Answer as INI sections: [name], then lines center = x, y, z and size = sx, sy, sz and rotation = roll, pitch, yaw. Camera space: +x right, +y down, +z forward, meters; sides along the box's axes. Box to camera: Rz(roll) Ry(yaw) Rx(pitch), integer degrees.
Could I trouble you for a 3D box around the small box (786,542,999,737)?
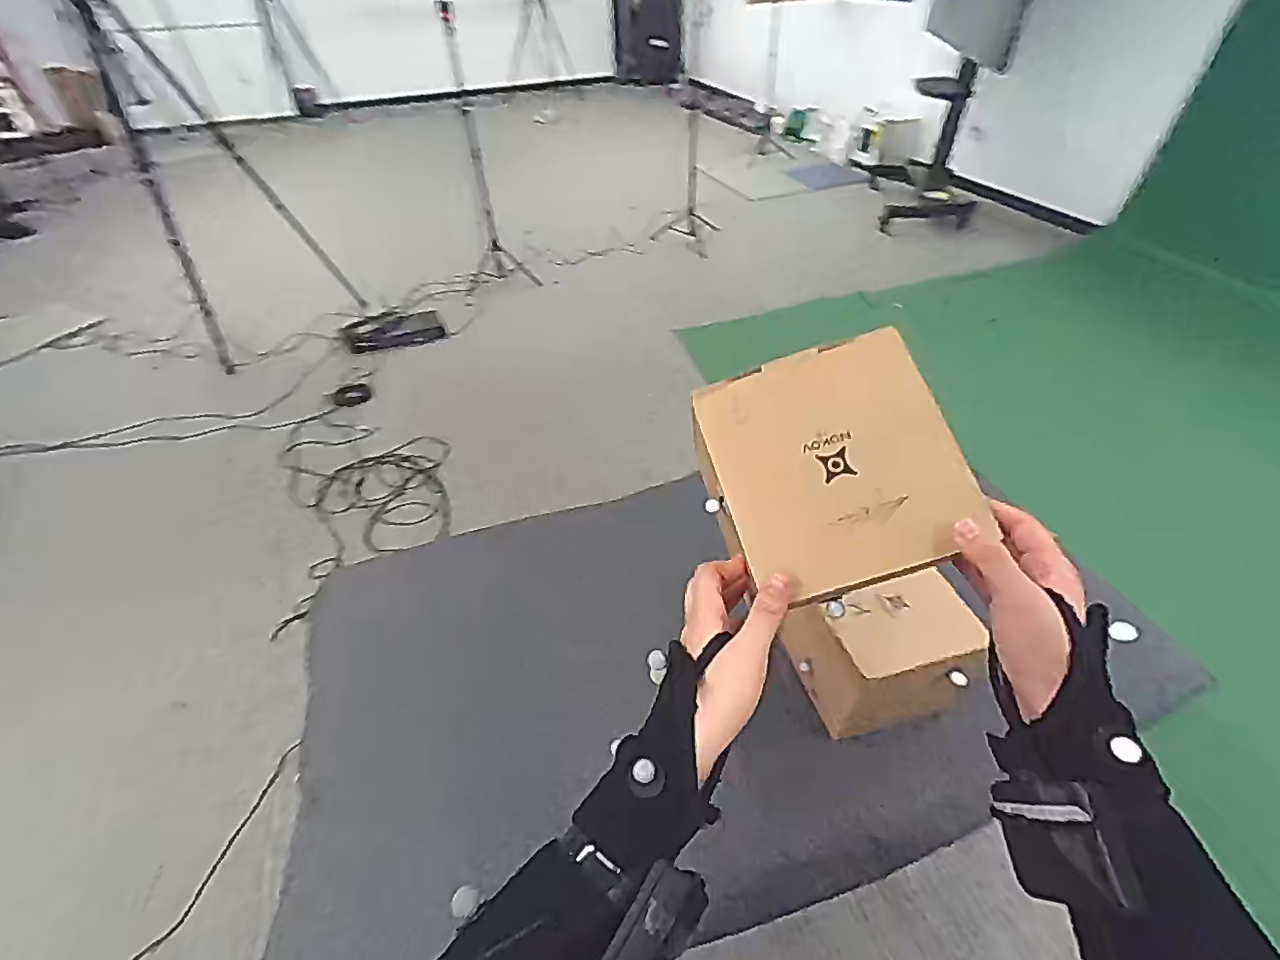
[small box]
center = 0.315, 0.212, 0.719
size = 0.179, 0.176, 0.168
rotation = -12, 44, -9
